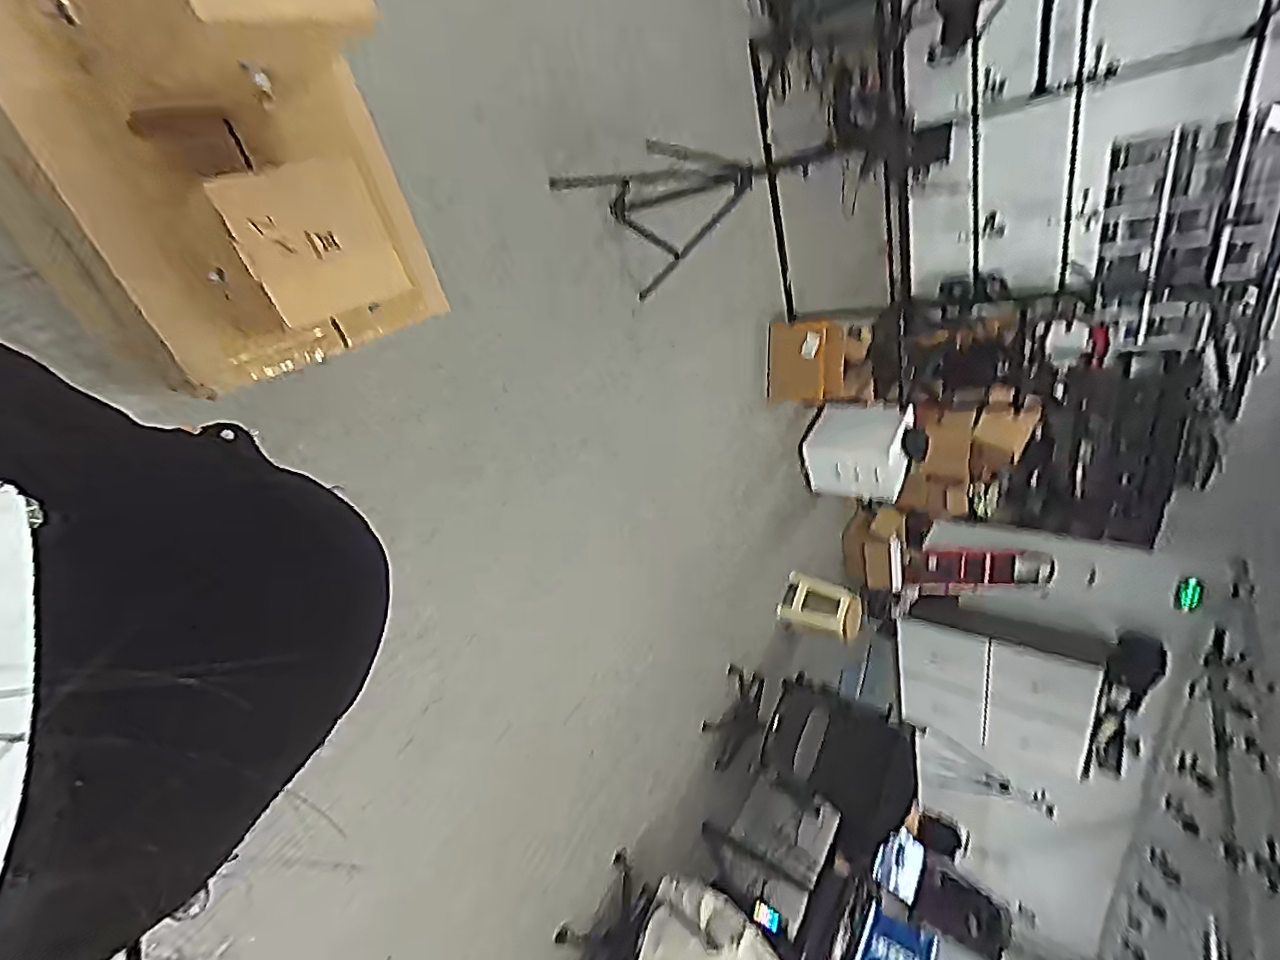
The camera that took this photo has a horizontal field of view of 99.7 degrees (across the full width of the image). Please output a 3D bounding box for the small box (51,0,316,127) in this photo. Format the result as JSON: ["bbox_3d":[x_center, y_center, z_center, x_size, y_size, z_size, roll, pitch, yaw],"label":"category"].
[{"bbox_3d":[-0.514,-0.518,0.604,0.179,0.176,0.168,-40,125,-37],"label":"small box"}]

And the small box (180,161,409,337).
[{"bbox_3d":[-0.452,-0.299,0.714,0.179,0.176,0.168,-40,124,-38],"label":"small box"}]
